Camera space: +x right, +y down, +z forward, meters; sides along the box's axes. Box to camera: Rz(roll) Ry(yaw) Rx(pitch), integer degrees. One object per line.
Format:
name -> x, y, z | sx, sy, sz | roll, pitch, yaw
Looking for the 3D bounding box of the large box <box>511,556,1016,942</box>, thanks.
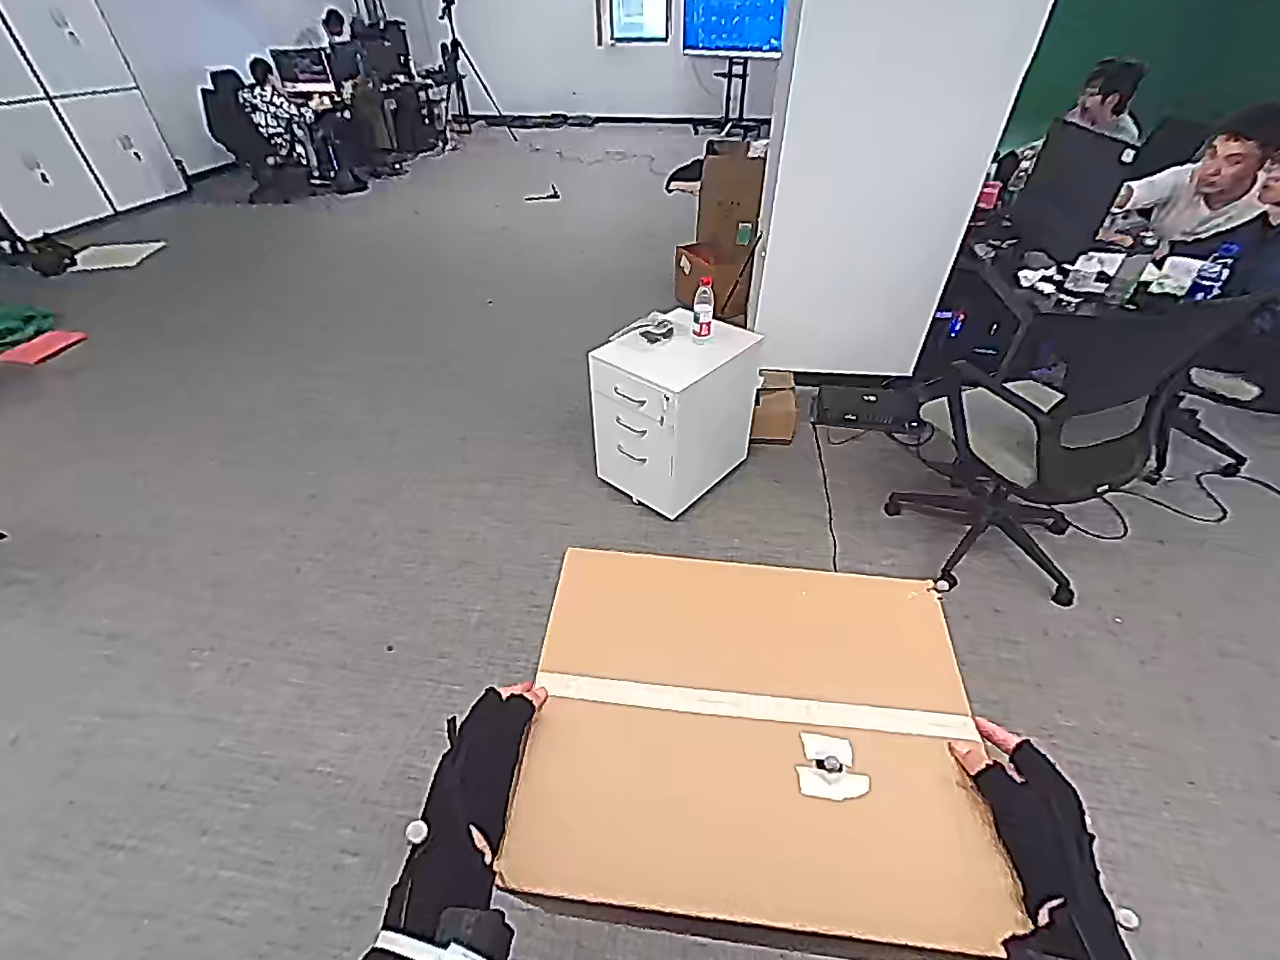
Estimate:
large box -> 0.103, 0.313, 0.630 | 0.408, 0.320, 0.320 | 5, 50, 4
